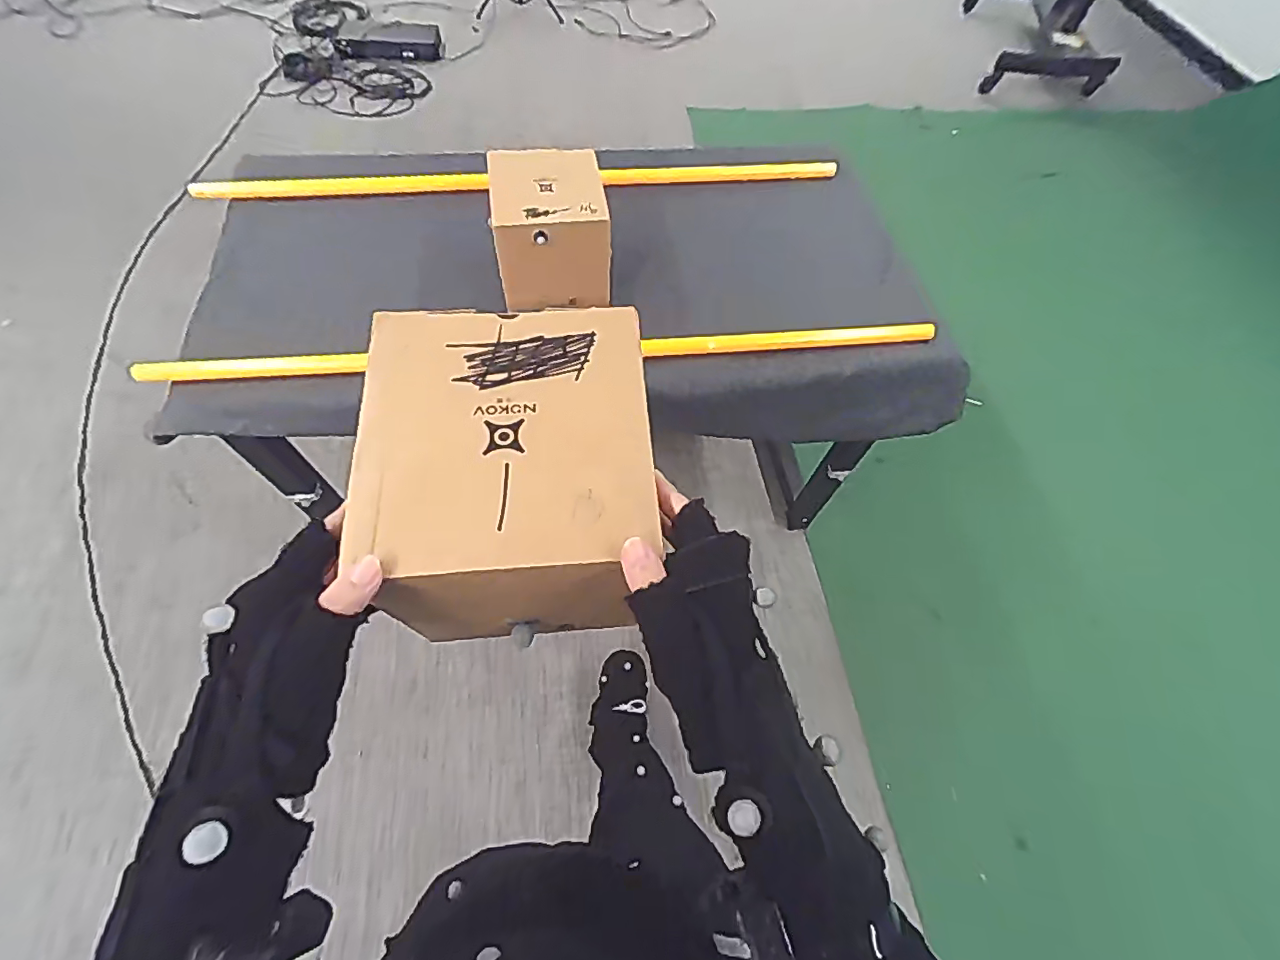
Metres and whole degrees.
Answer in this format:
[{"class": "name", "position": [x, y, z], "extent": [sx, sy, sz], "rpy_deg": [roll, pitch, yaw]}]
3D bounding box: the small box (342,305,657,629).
[{"class": "small box", "position": [-0.083, -0.001, 0.390], "extent": [0.168, 0.176, 0.179], "rpy_deg": [-3, 65, -5]}]

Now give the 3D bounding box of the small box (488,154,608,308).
[{"class": "small box", "position": [-0.145, -0.388, 0.864], "extent": [0.168, 0.176, 0.179], "rpy_deg": [-7, 61, -7]}]
